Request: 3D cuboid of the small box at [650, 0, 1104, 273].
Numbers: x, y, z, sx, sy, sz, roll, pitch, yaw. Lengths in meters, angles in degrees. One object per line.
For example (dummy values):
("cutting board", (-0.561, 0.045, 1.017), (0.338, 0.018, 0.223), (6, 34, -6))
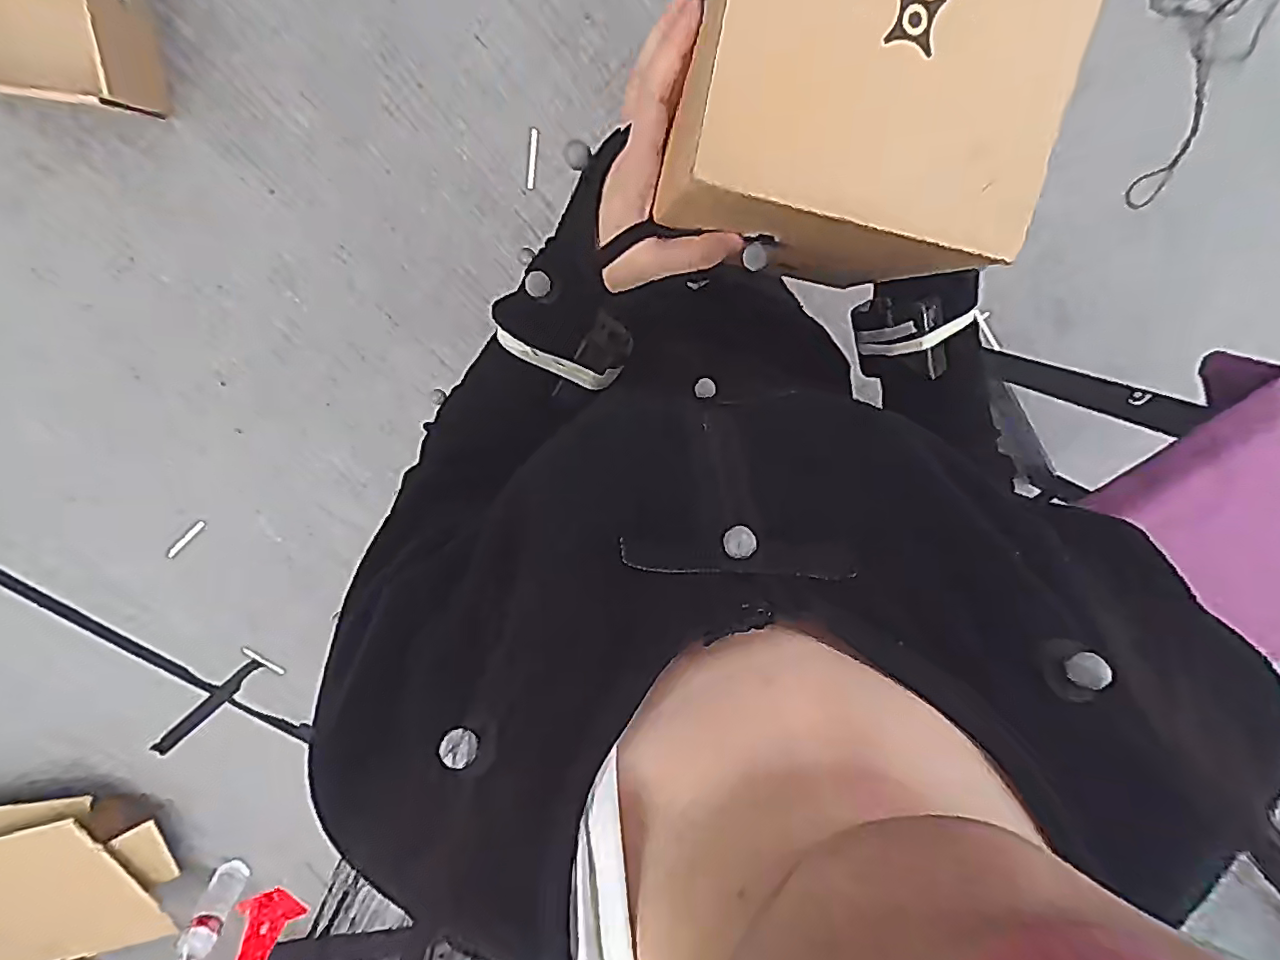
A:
("small box", (0.107, -0.225, 0.300), (0.168, 0.176, 0.179), (8, 103, -11))
